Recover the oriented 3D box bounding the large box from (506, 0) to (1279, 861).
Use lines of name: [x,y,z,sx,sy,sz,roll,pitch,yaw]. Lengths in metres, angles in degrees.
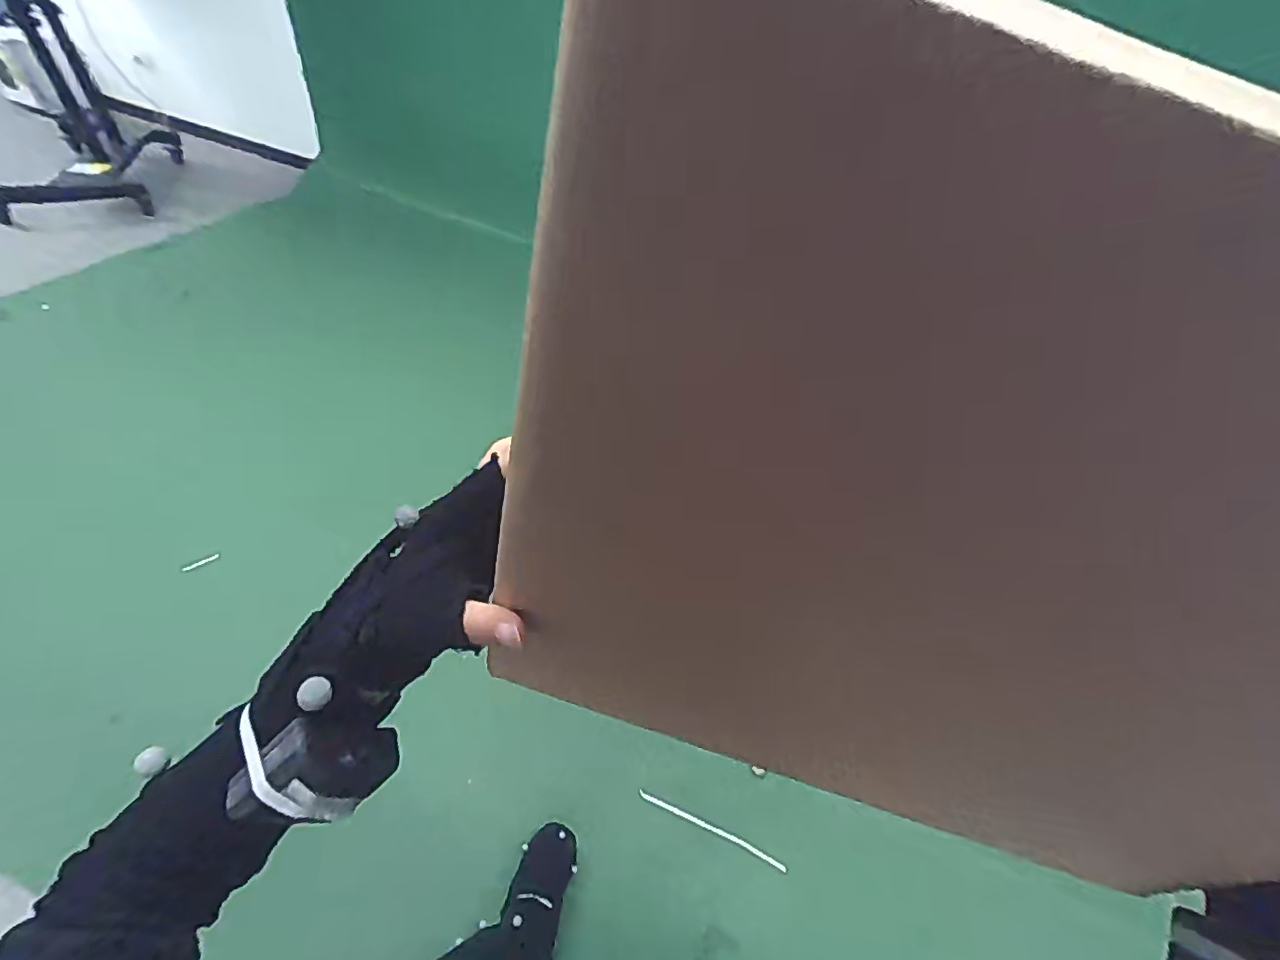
large box: [0.176,-0.031,0.319,0.408,0.320,0.320,20,46,-2]
